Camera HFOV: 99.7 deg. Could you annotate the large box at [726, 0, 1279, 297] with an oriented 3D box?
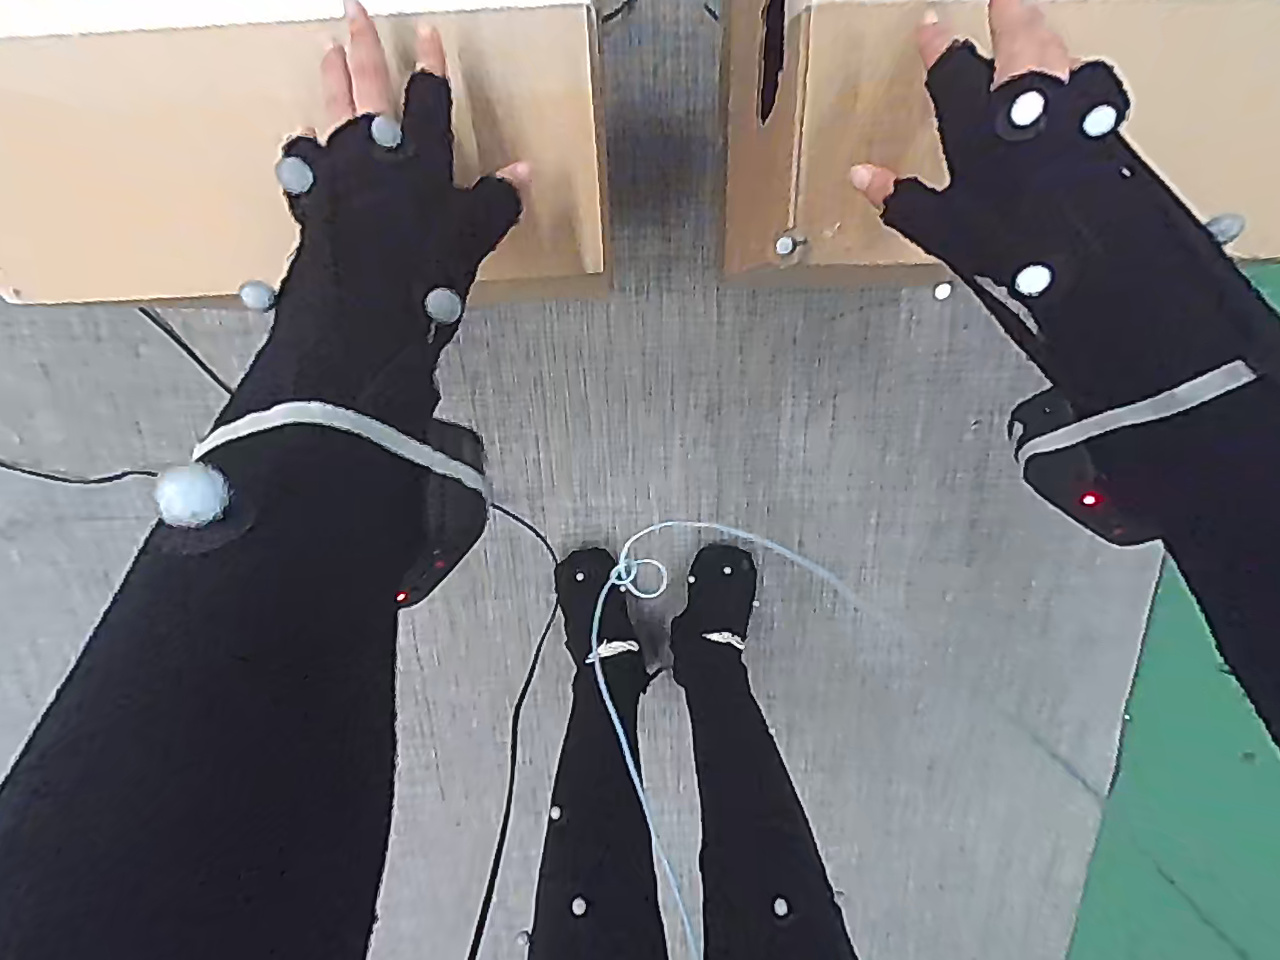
[{"bbox_3d":[0.307,-0.339,0.503,0.408,0.320,0.320,-1,106,0],"label":"large box"}]
